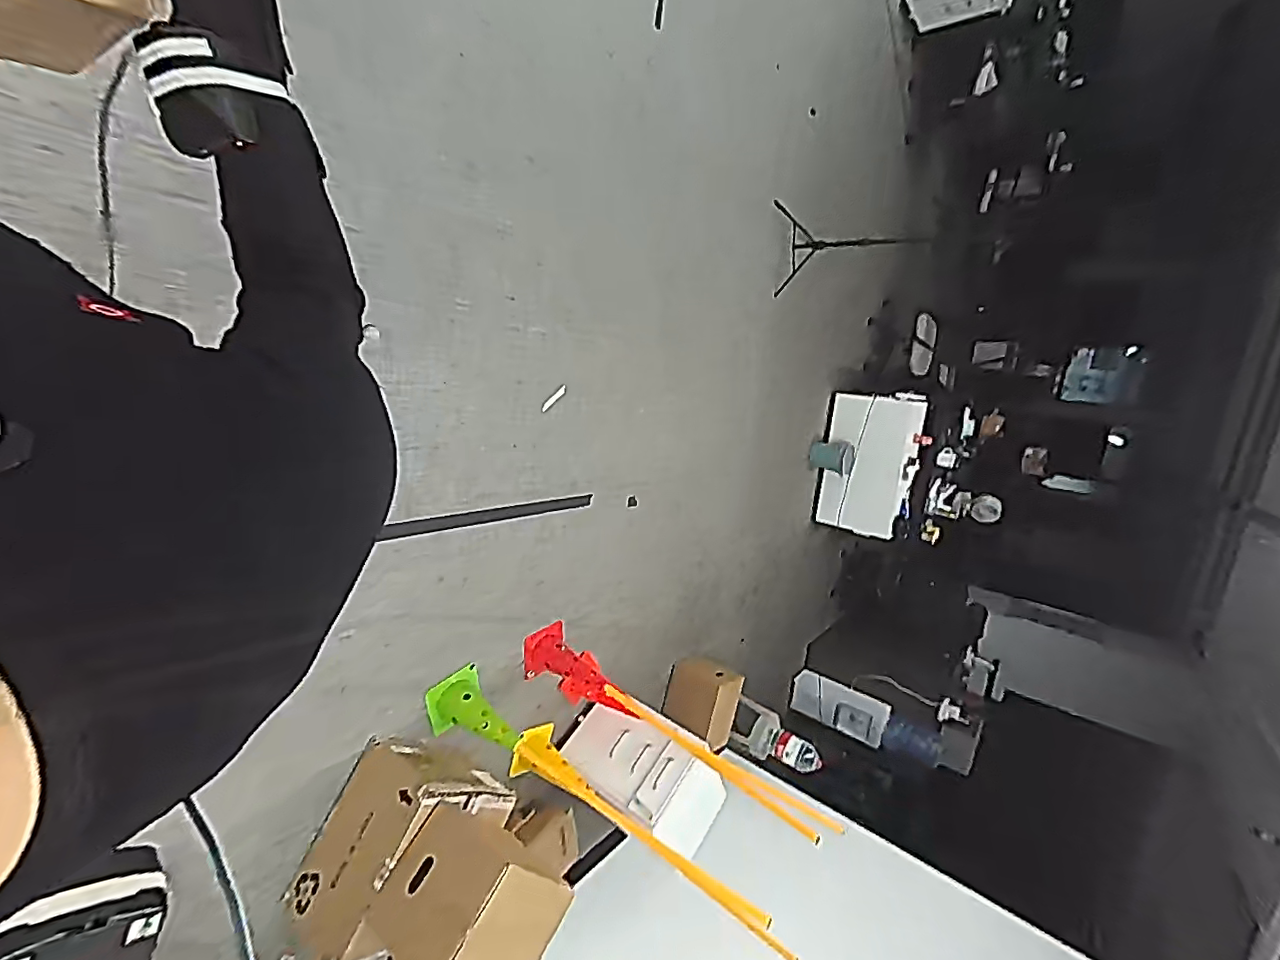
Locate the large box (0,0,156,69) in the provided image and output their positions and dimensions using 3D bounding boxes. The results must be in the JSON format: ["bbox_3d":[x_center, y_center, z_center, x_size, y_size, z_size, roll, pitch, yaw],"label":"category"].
[{"bbox_3d":[-0.547,-0.449,0.243,0.408,0.320,0.320,-19,123,-49],"label":"large box"}]
